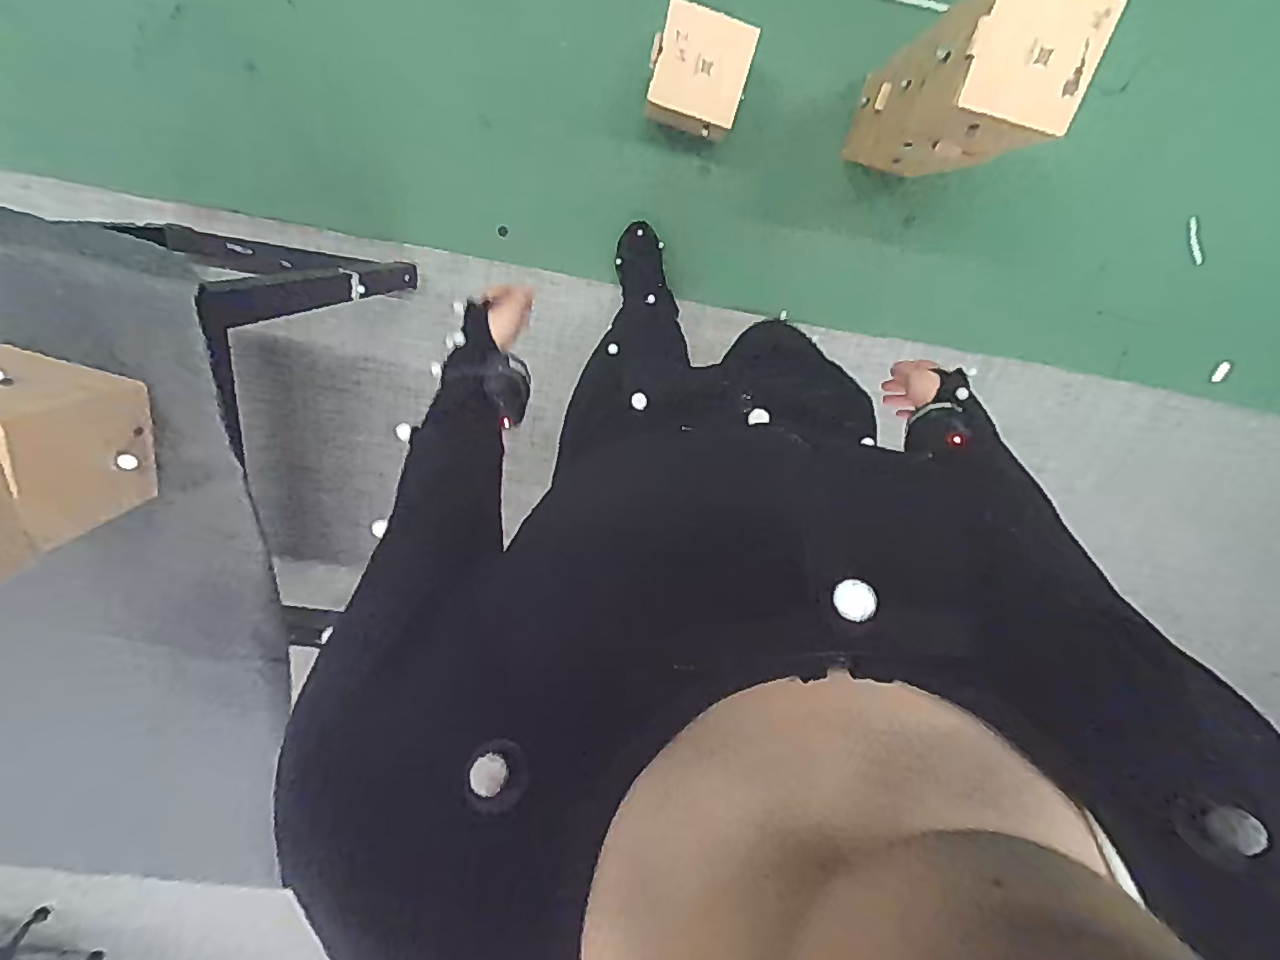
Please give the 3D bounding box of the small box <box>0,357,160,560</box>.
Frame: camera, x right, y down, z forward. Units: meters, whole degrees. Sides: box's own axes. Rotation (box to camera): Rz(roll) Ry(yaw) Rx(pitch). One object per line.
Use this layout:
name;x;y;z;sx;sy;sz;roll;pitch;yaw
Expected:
small box;-0.713;-0.032;0.622;0.179;0.176;0.168;15;114;-5

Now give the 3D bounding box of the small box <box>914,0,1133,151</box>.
small box;0.549;-0.613;0.808;0.179;0.176;0.168;12;113;-5

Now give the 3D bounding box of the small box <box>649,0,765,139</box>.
small box;0.123;-0.804;1.080;0.179;0.176;0.168;15;113;-6

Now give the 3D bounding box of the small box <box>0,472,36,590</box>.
small box;-0.721;0.043;0.477;0.168;0.176;0.179;8;115;0

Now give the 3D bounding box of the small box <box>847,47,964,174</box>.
small box;0.560;-0.744;1.110;0.179;0.176;0.168;13;114;-6
